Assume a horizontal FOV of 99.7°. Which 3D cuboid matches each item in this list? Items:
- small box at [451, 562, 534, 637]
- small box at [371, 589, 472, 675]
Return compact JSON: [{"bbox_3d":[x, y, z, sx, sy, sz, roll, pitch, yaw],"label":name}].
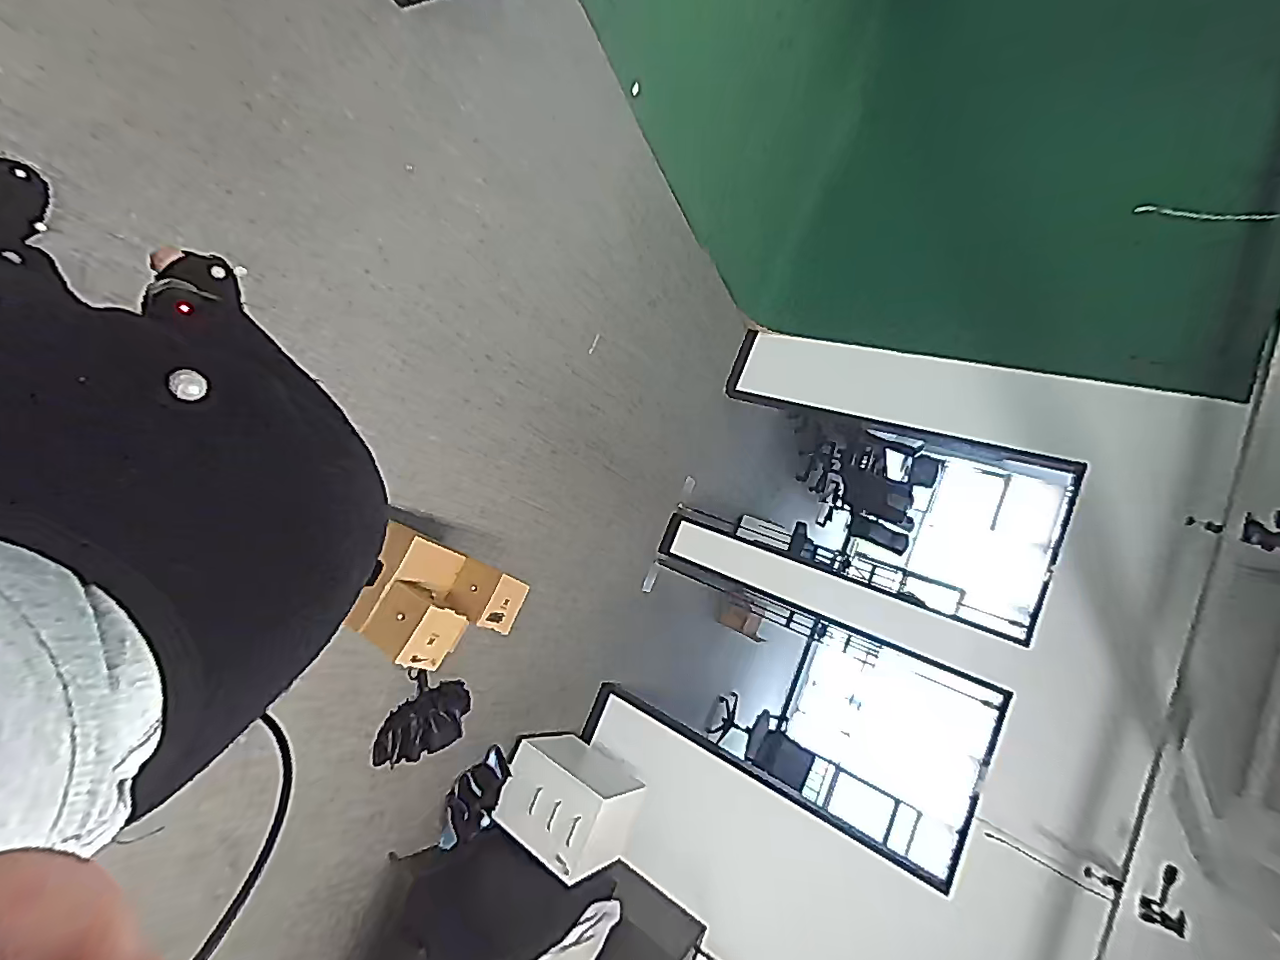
[{"bbox_3d":[-0.489,0.390,1.773,0.179,0.176,0.168,-67,150,-16],"label":"small box"},{"bbox_3d":[-0.630,0.434,1.555,0.179,0.176,0.168,-63,150,-14],"label":"small box"}]
